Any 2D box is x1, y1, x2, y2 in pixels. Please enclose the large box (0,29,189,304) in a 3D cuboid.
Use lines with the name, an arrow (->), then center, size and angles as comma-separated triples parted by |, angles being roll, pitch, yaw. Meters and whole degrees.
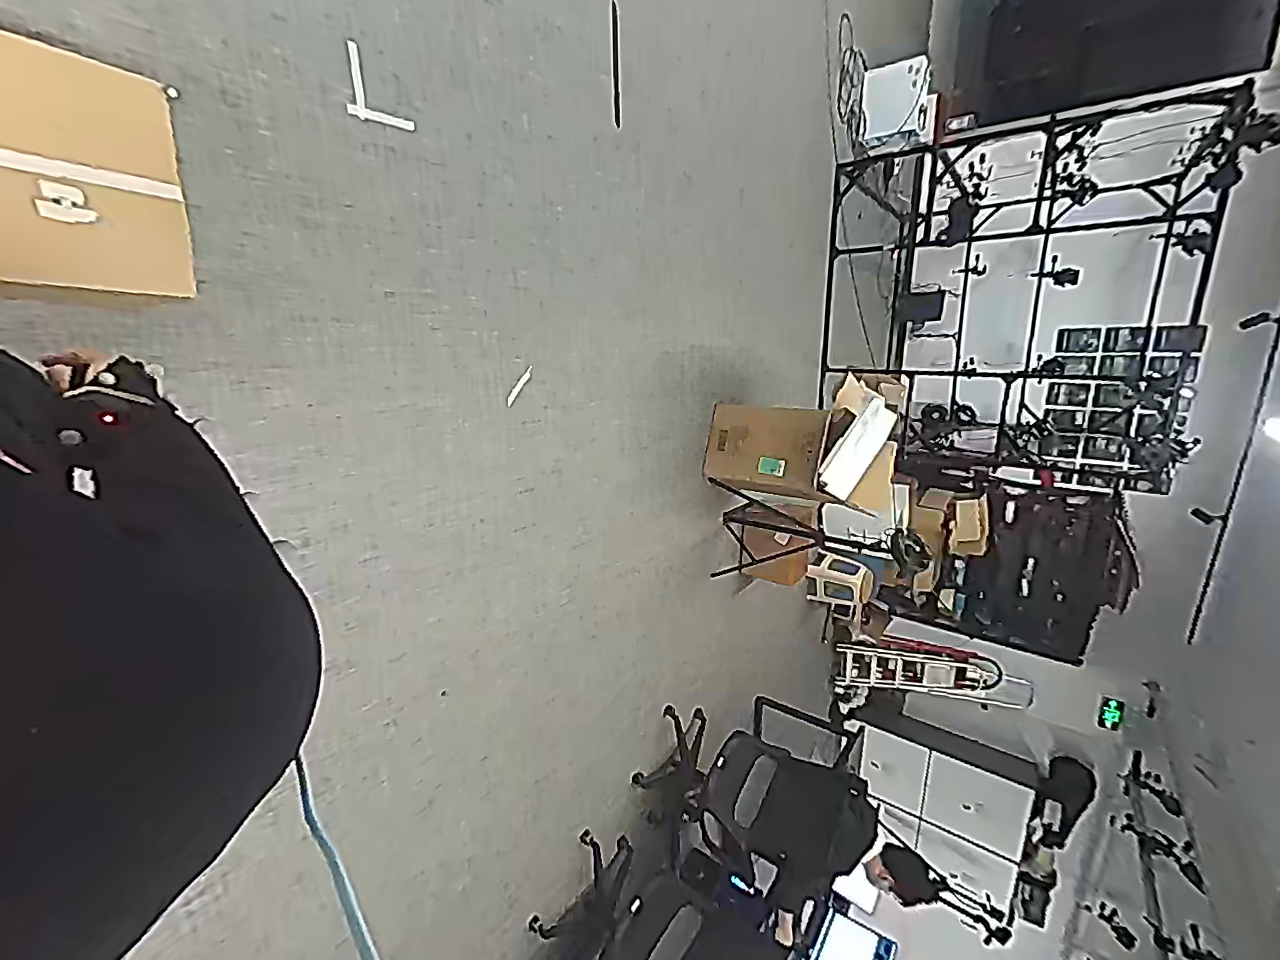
large box -> -0.963, -0.436, 0.769 | 0.408, 0.320, 0.320 | -15, 110, -53
